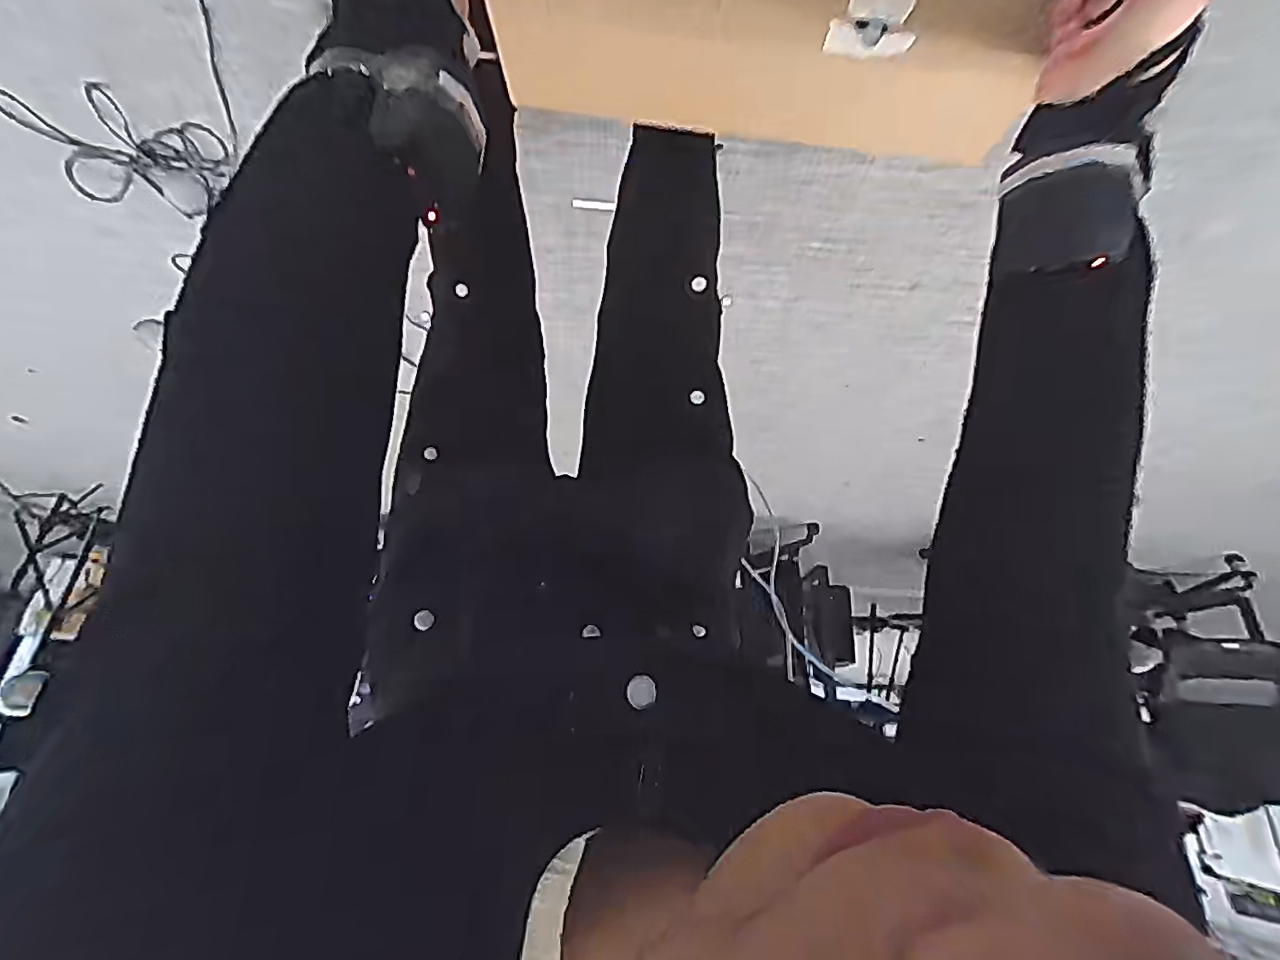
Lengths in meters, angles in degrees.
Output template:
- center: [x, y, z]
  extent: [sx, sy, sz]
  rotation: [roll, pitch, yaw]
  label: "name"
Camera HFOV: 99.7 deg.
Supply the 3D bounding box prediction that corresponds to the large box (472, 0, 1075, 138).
- center: [0.092, -0.476, 0.330]
  extent: [0.408, 0.320, 0.320]
  rotation: [6, 172, 1]
  label: "large box"
